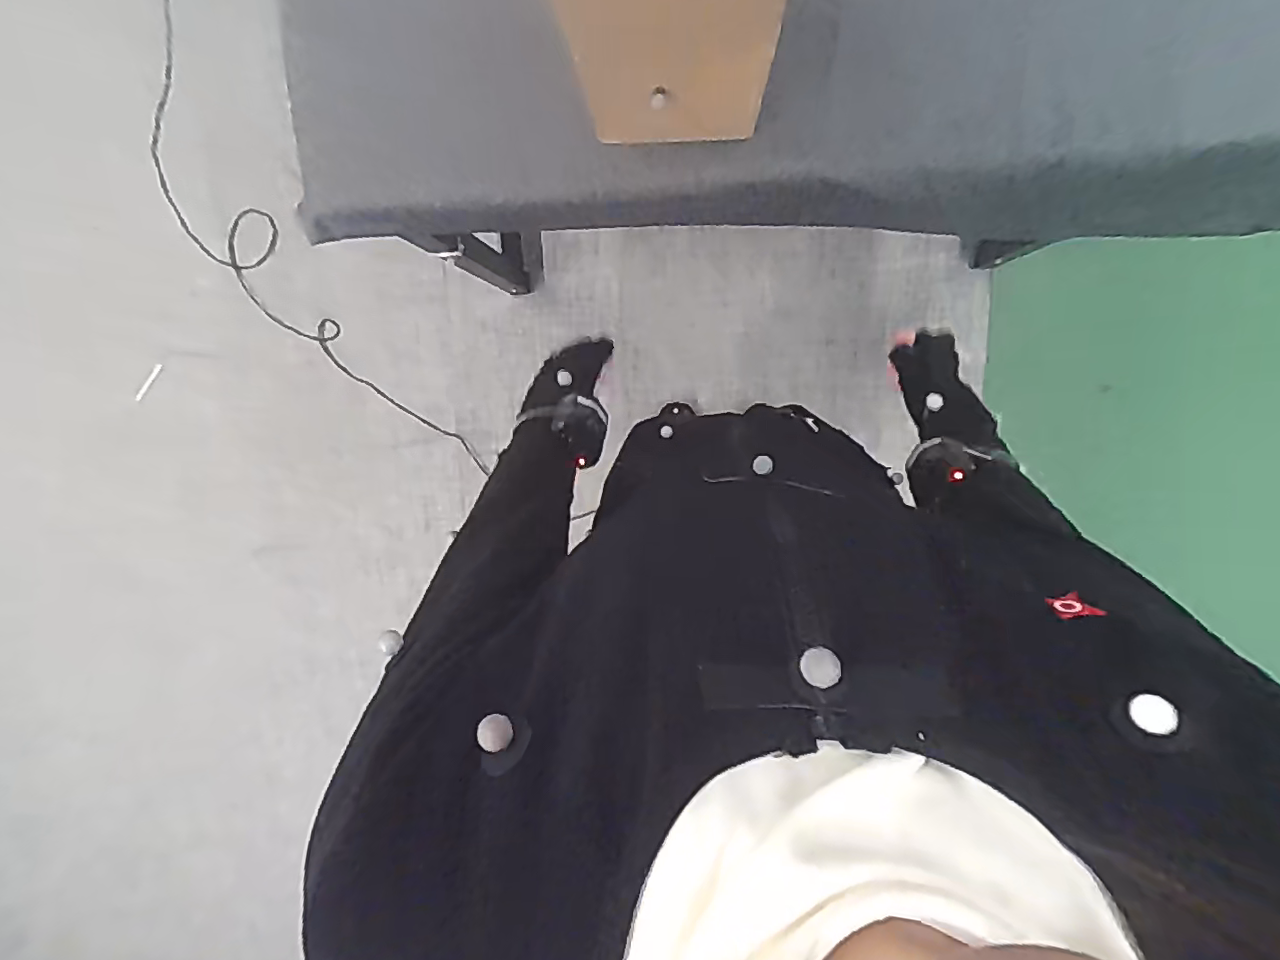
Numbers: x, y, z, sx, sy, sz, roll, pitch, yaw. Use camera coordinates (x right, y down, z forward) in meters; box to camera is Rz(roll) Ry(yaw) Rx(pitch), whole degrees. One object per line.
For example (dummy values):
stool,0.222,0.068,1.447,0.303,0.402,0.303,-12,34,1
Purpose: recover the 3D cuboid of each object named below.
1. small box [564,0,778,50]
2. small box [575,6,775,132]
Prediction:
small box,0.024,-0.446,0.379,0.179,0.176,0.168,0,97,6
small box,0.038,-0.473,0.538,0.179,0.176,0.168,1,99,5
